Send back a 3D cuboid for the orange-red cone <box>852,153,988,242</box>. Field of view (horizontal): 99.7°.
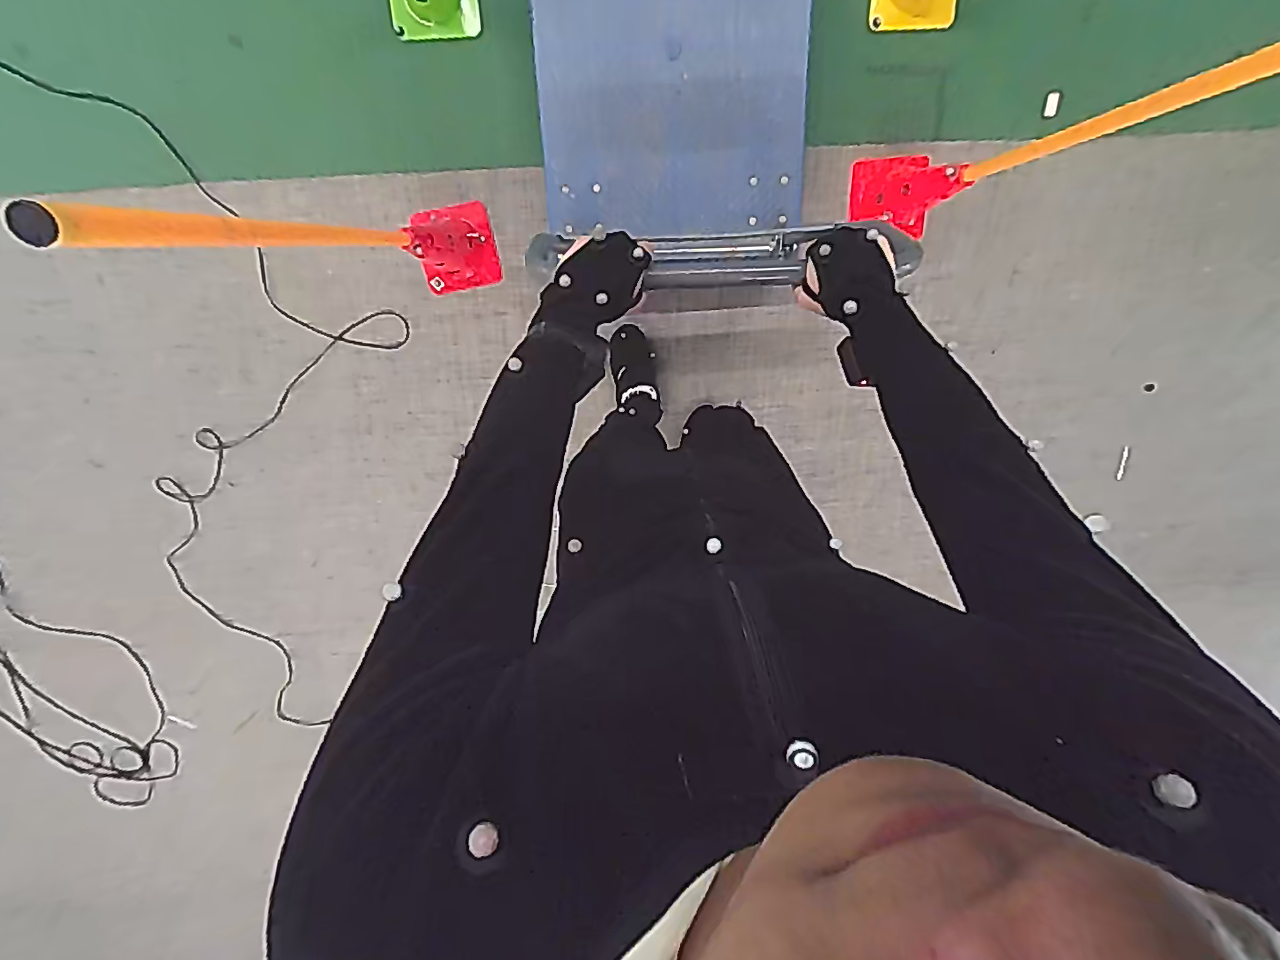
[{"bbox_3d":[0.639,-0.654,1.196,0.198,0.360,0.199,-3,108,0],"label":"orange-red cone"}]

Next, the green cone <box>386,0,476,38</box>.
[{"bbox_3d":[-0.471,-1.050,1.035,0.200,0.368,0.202,-3,109,1],"label":"green cone"}]
